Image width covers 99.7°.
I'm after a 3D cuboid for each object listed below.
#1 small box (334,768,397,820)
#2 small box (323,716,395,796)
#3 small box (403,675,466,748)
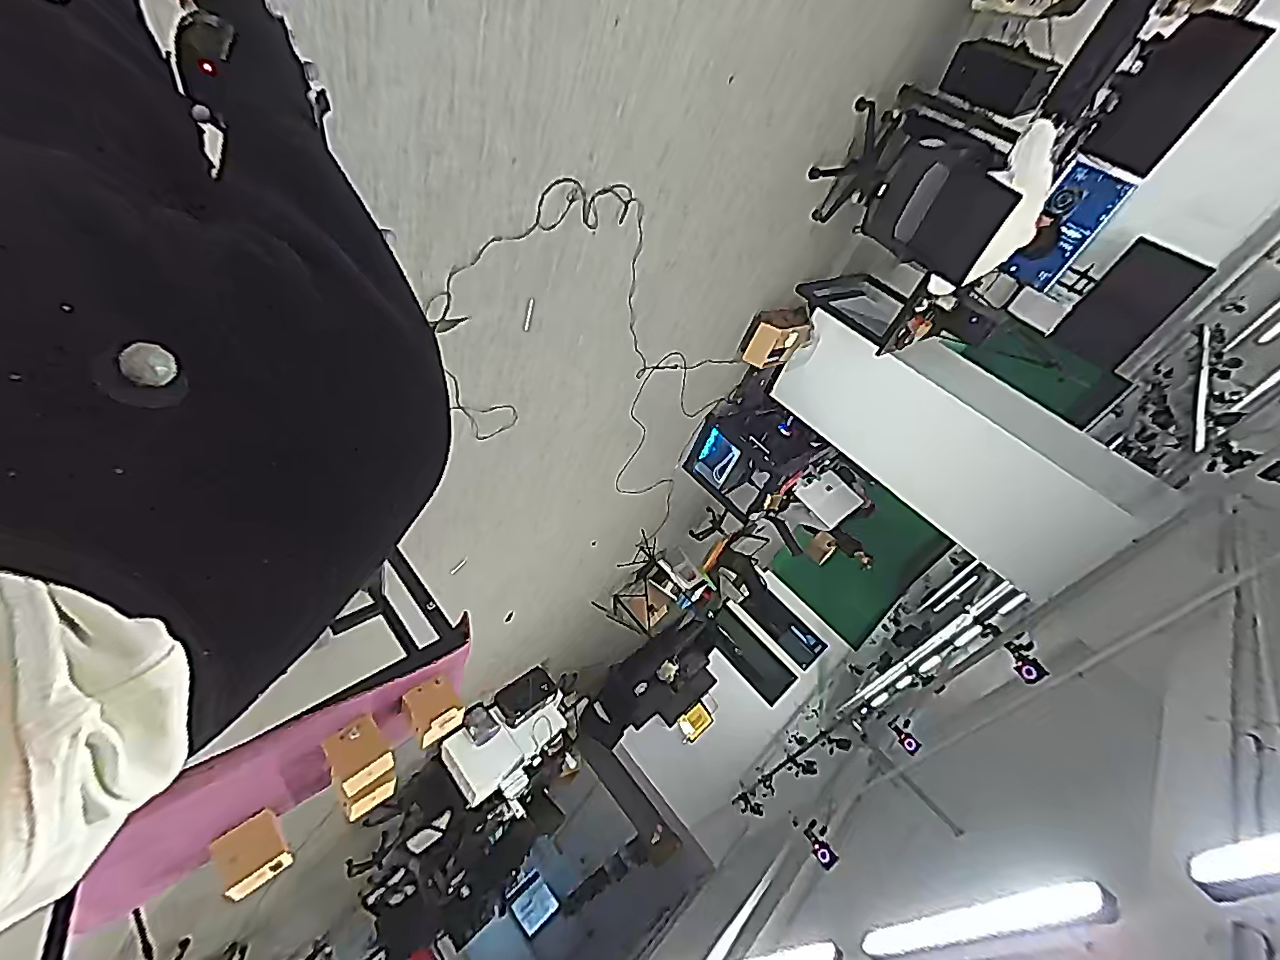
[{"bbox_3d":[-1.061,1.159,2.084,0.168,0.176,0.179,-22,147,-43],"label":"small box"},{"bbox_3d":[-0.982,0.963,1.896,0.168,0.176,0.179,-28,152,-37],"label":"small box"},{"bbox_3d":[-0.791,0.880,2.075,0.168,0.176,0.179,-25,151,-39],"label":"small box"}]
